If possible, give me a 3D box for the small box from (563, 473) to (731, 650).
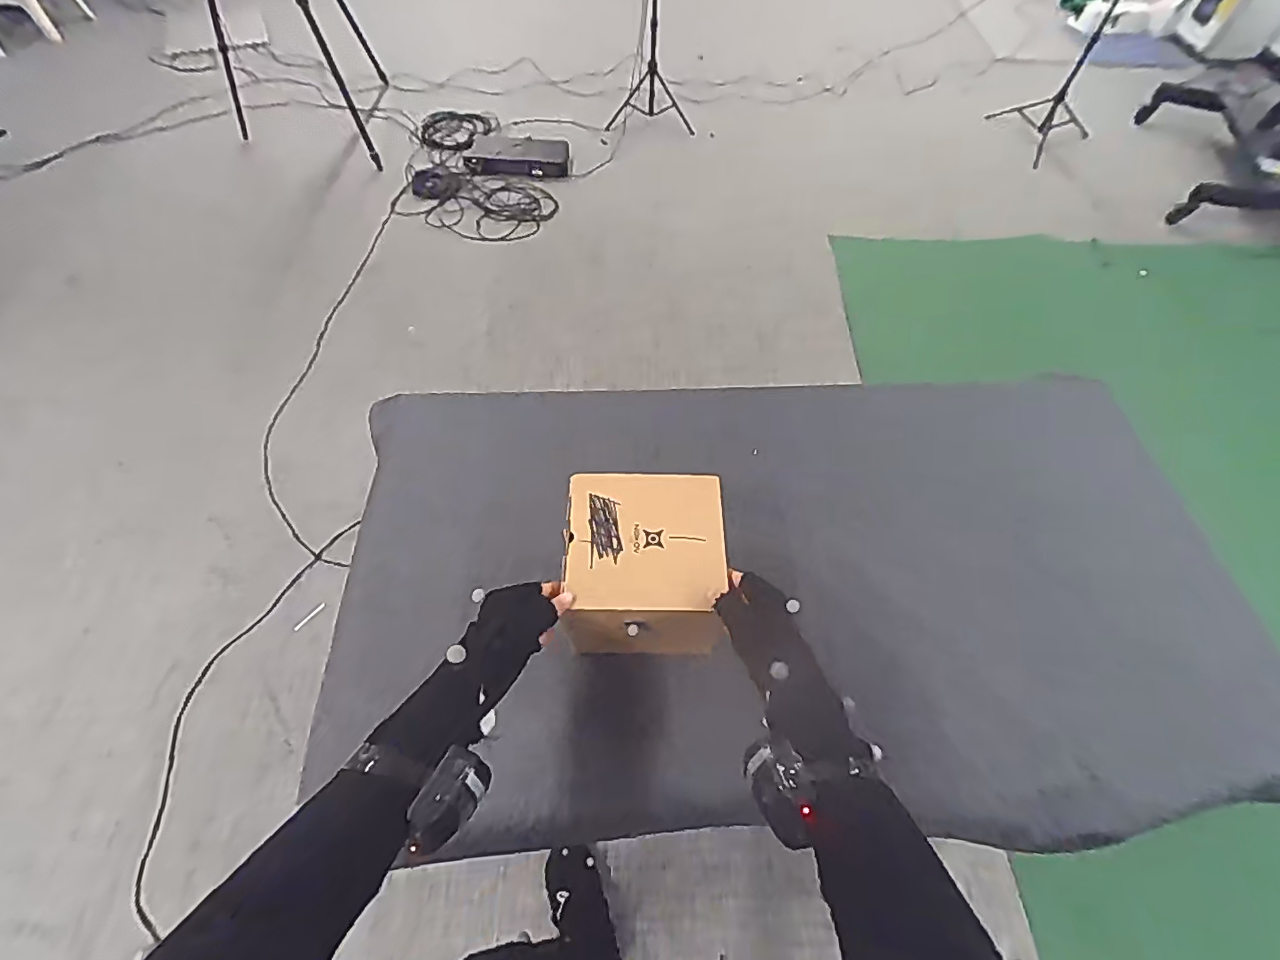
[{"bbox_3d":[0.007,0.106,0.662,0.179,0.176,0.168,1,59,-2],"label":"small box"}]
